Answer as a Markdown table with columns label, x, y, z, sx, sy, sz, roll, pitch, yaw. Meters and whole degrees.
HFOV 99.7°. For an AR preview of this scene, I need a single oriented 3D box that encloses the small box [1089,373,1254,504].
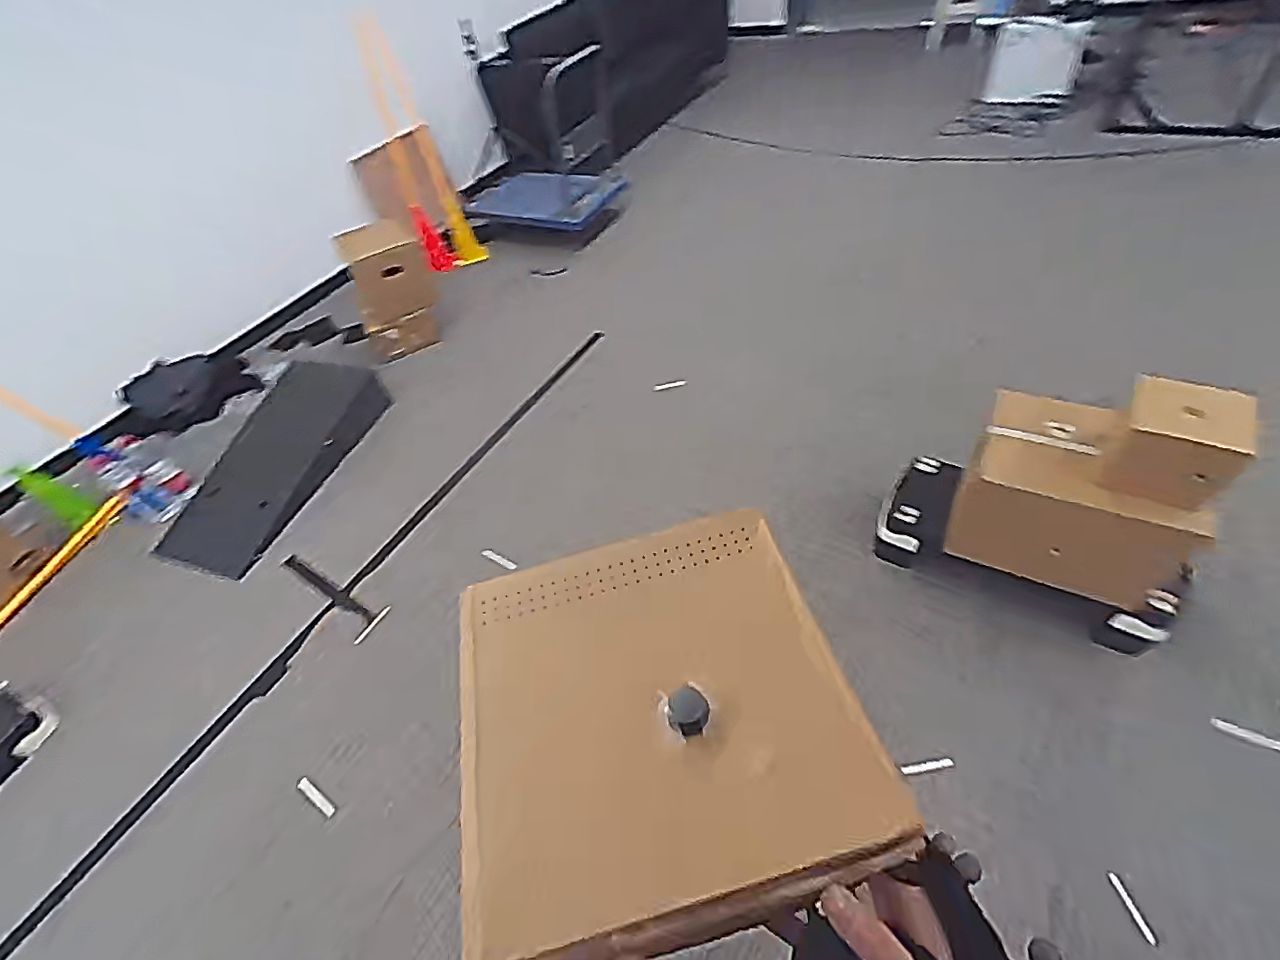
| label | x | y | z | sx | sy | sz | roll | pitch | yaw |
| --- | --- | --- | --- | --- | --- | --- | --- | --- | --- |
| small box | 1.028 | -0.077 | 1.055 | 0.179 | 0.176 | 0.168 | 21 | 58 | 27 |

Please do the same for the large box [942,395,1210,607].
| label | x | y | z | sx | sy | sz | roll | pitch | yaw |
| --- | --- | --- | --- | --- | --- | --- | --- | --- | --- |
| large box | 0.998 | 0.044 | 1.286 | 0.408 | 0.320 | 0.320 | 17 | 55 | 26 |

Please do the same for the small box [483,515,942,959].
| label | x | y | z | sx | sy | sz | roll | pitch | yaw |
| --- | --- | --- | --- | --- | --- | --- | --- | --- | --- |
| small box | 0.022 | 0.143 | 0.306 | 0.179 | 0.168 | 0.176 | -16 | 44 | -4 |
